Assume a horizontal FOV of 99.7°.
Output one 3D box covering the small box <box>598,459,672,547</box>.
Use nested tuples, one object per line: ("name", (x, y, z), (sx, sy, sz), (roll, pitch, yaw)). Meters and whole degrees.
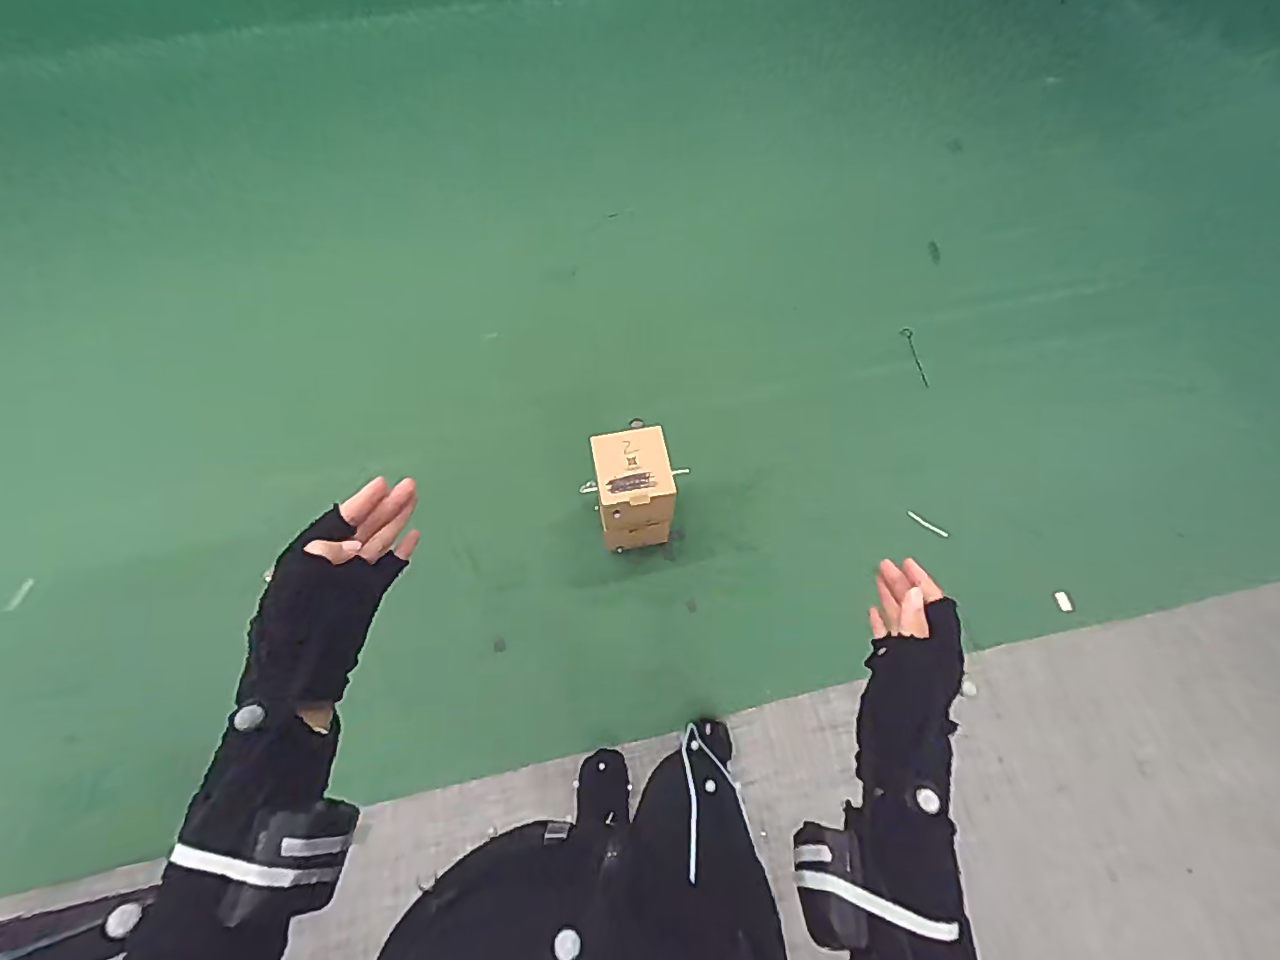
("small box", (-0.014, 0.069, 1.419), (0.168, 0.176, 0.179), (-9, 66, -5))
